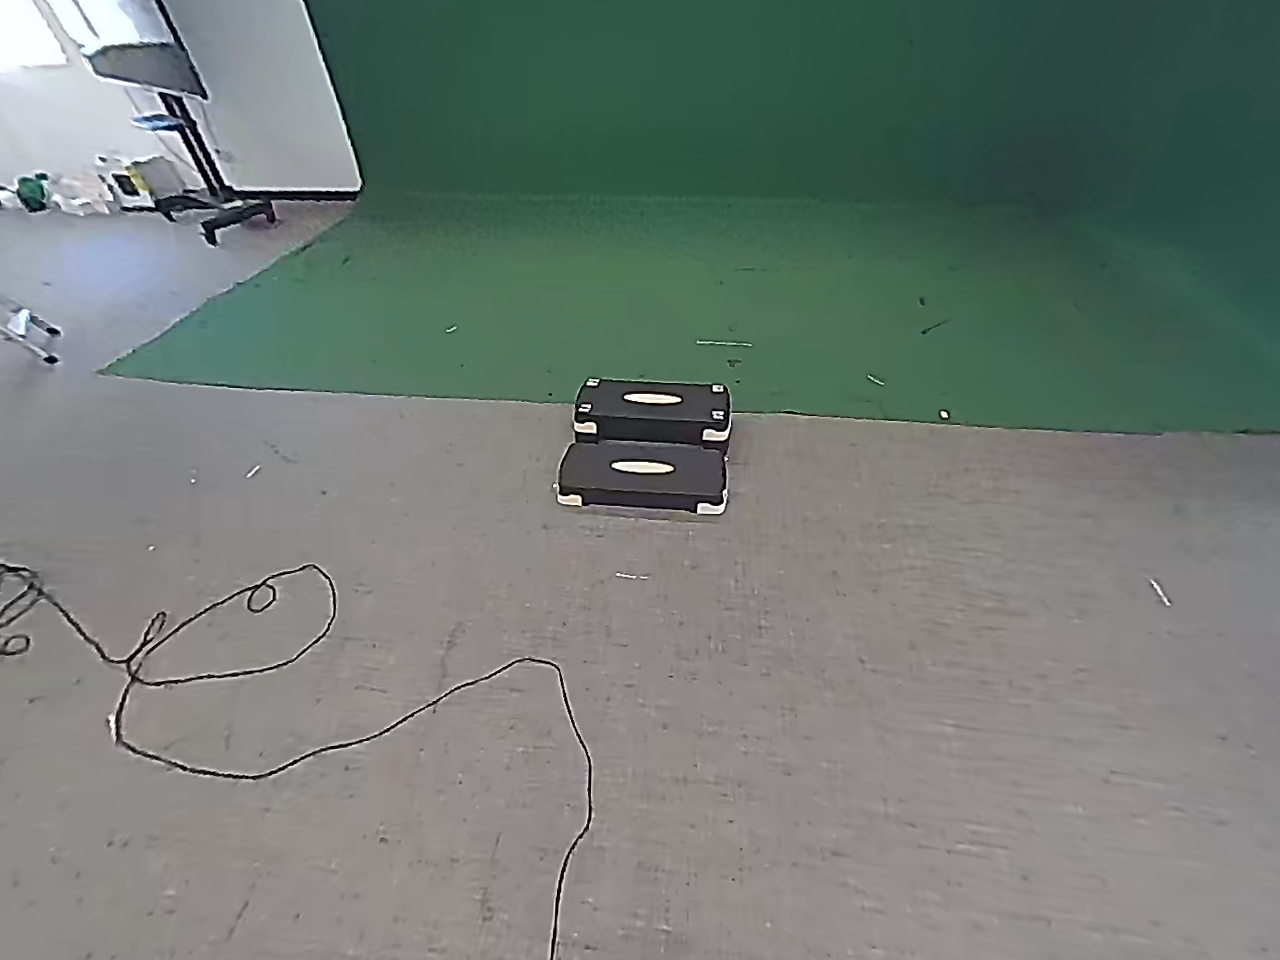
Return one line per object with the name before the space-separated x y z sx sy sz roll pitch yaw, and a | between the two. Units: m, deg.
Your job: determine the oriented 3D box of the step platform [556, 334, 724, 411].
step platform | 0.004 -0.452 2.271 0.684 0.204 0.286 3 44 6
